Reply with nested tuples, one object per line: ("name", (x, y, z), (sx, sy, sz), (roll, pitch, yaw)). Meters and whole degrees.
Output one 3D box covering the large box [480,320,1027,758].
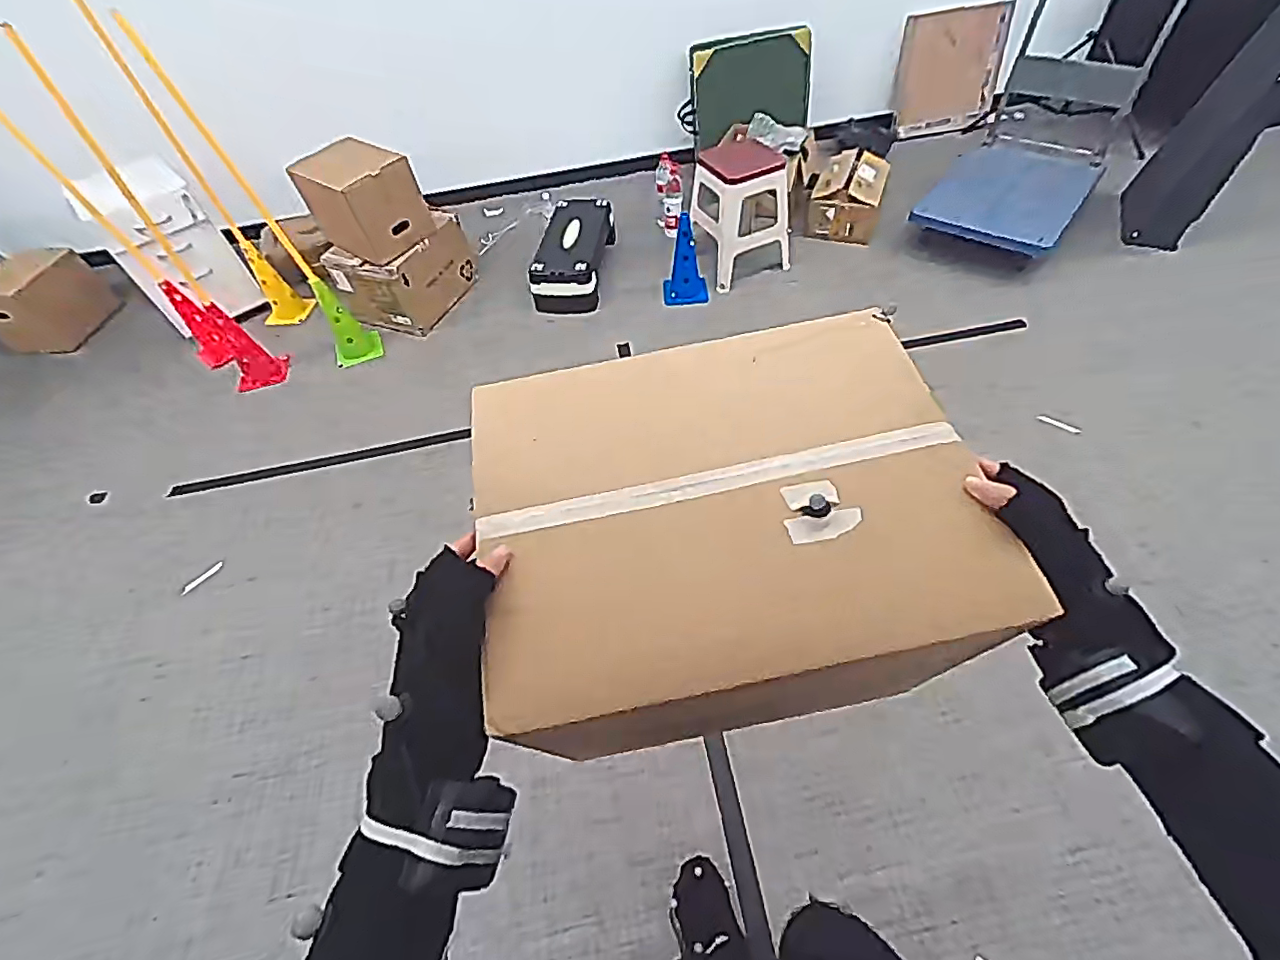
("large box", (0.074, 0.081, 0.591), (0.408, 0.320, 0.320), (-12, 59, -2))
